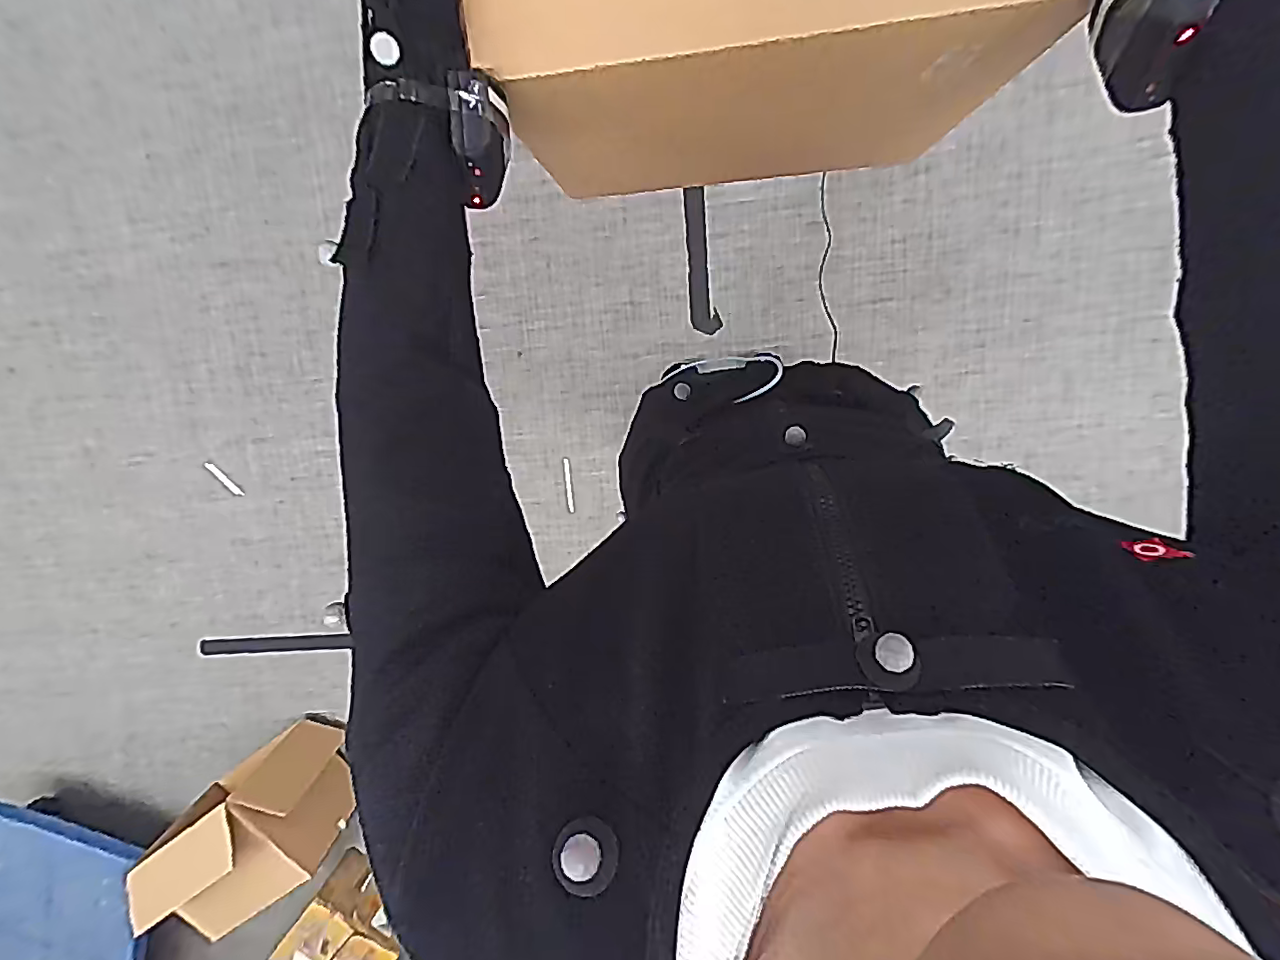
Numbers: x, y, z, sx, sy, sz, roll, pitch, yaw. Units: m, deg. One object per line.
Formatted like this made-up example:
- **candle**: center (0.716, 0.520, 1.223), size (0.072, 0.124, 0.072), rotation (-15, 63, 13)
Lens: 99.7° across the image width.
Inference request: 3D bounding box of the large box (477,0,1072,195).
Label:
- **large box**: center (0.087, -0.472, 0.460), size (0.408, 0.320, 0.320), rotation (-4, 104, 6)
